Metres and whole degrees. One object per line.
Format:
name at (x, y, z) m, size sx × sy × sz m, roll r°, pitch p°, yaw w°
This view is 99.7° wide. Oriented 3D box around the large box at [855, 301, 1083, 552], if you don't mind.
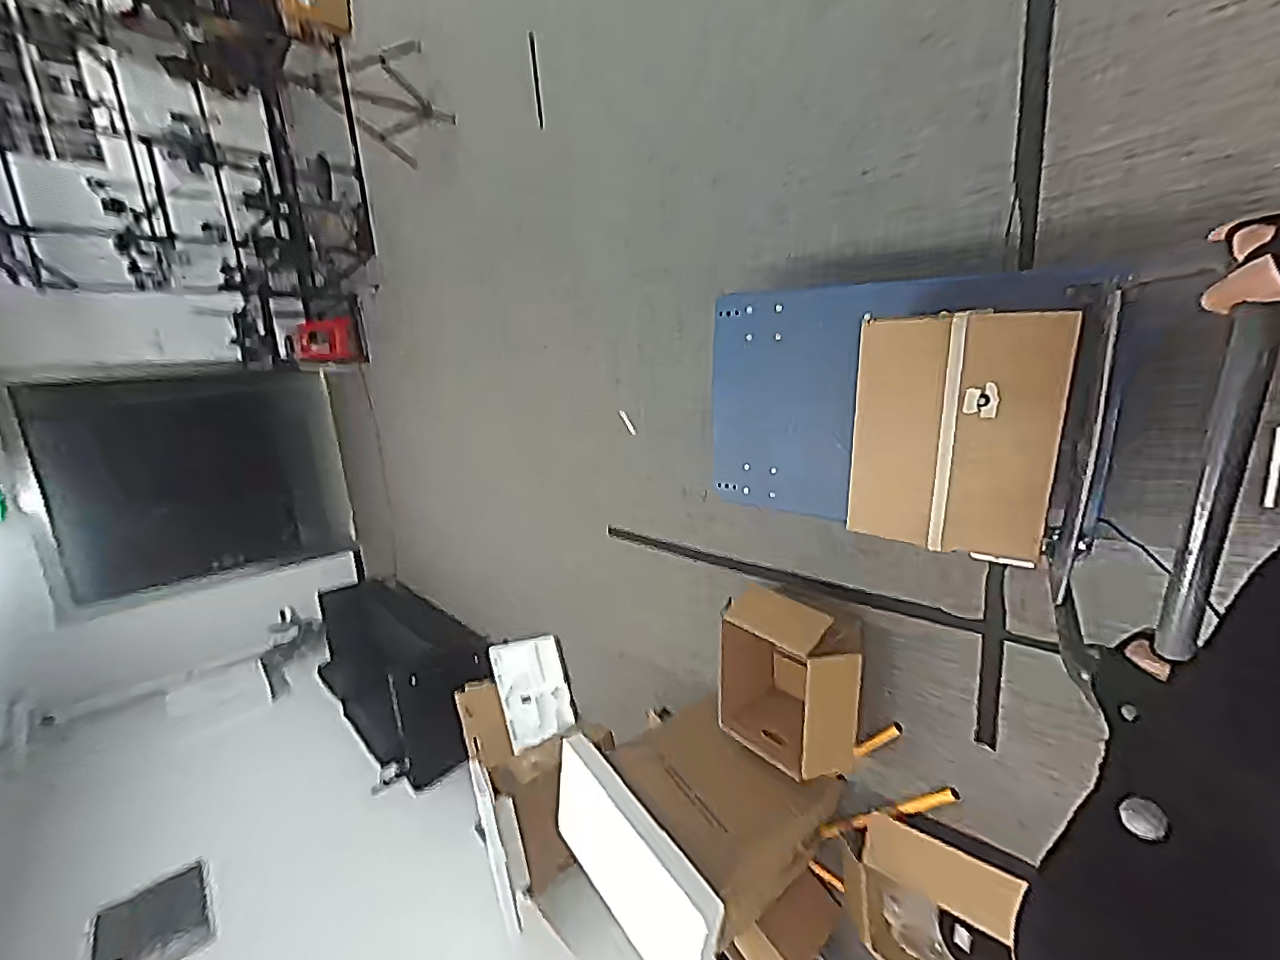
large box at (0.629, -0.118, 1.041) m, size 0.320 × 0.320 × 0.408 m, roll 9°, pitch 108°, yaw 36°
